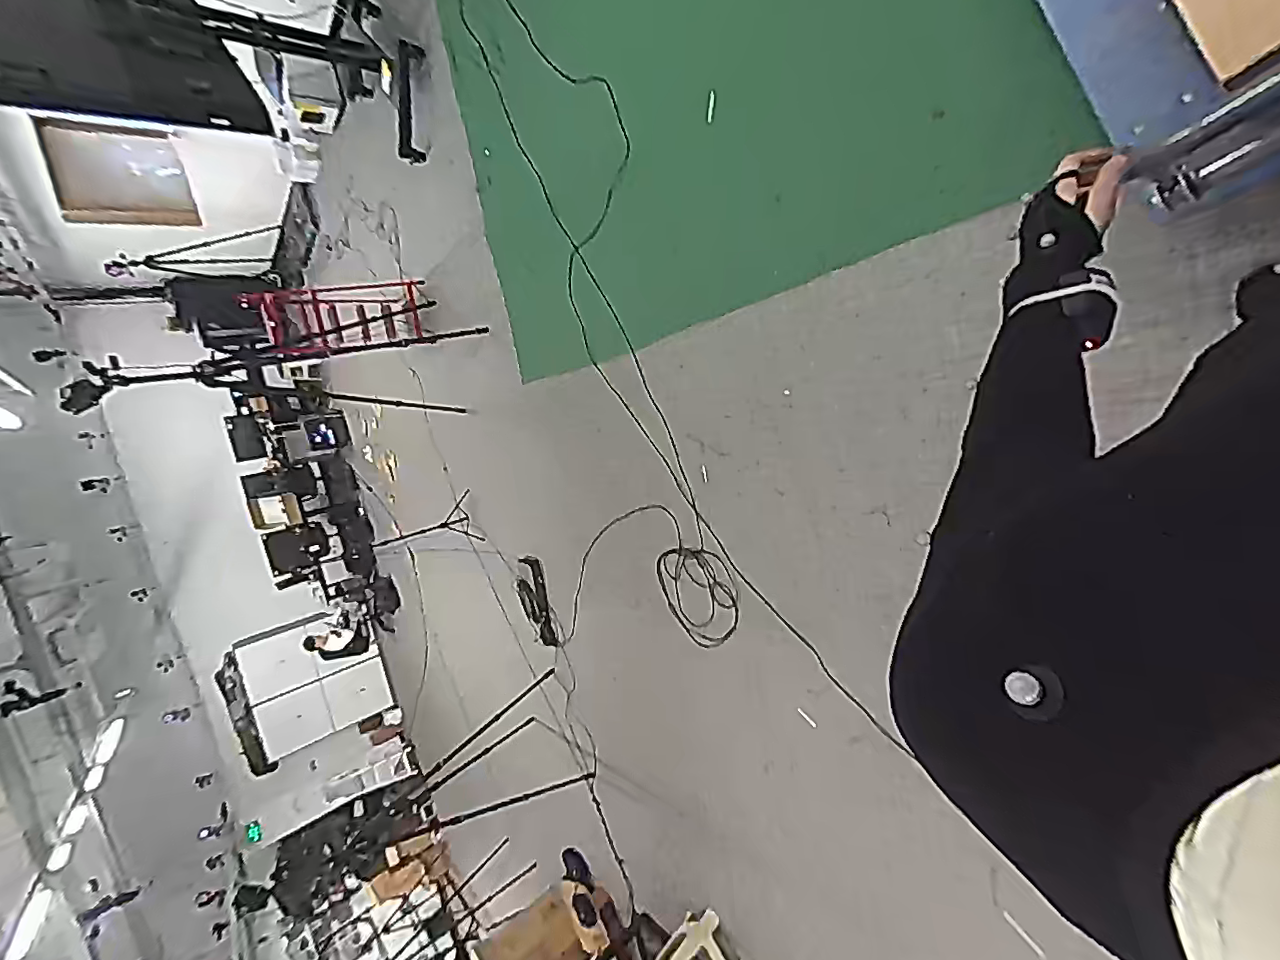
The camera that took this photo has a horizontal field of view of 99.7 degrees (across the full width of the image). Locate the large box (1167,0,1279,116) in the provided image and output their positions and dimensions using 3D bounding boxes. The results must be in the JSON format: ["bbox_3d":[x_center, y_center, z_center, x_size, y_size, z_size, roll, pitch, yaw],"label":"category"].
[{"bbox_3d":[0.934,-0.810,0.742,0.320,0.320,0.408,-29,80,52],"label":"large box"}]
